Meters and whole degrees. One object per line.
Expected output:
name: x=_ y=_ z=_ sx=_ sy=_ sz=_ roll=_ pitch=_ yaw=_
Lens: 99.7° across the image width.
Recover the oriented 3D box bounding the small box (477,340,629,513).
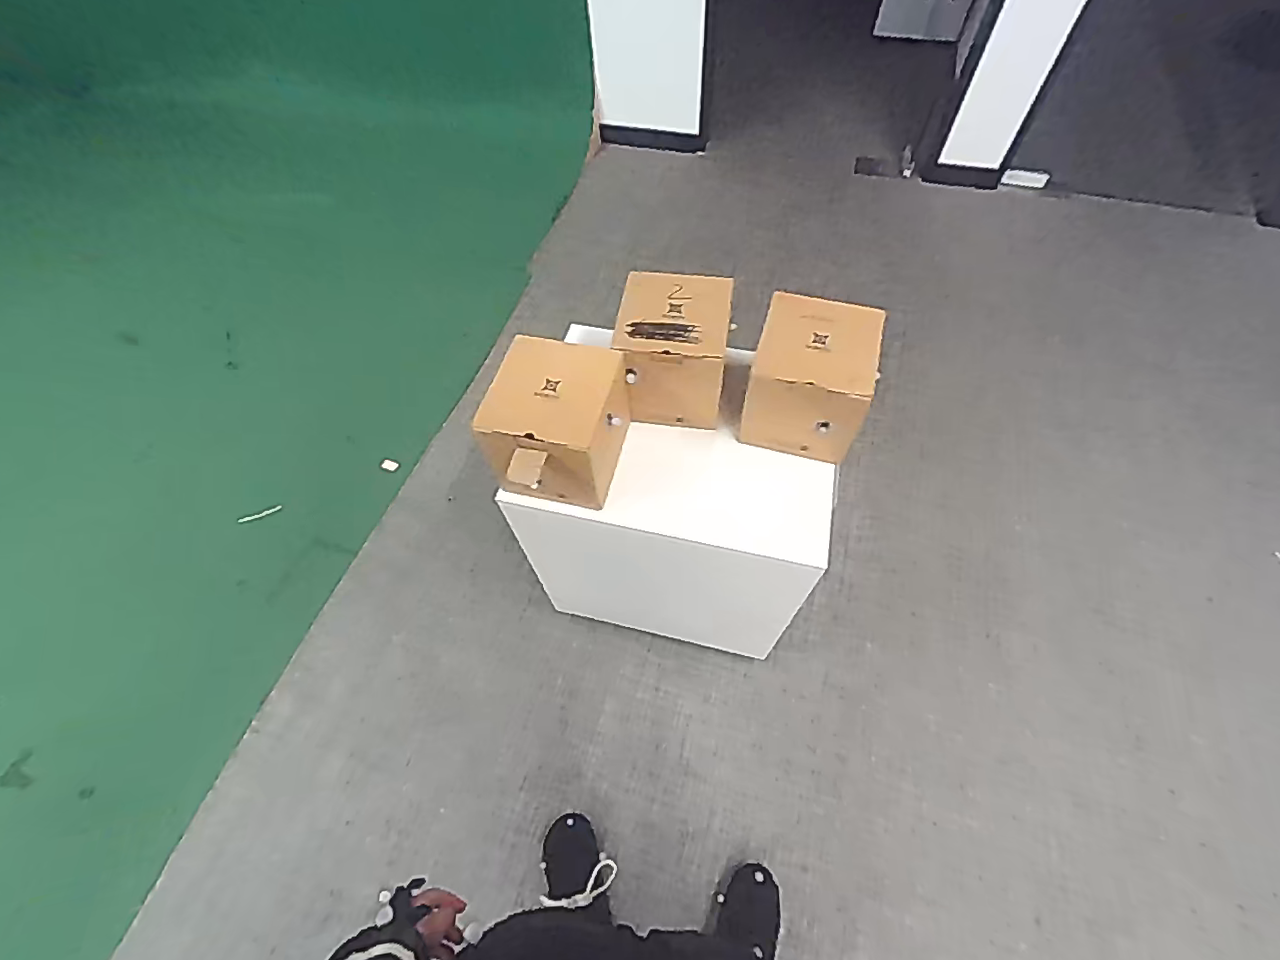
small box: x=-0.116 y=-0.076 z=0.806 sx=0.168 sy=0.176 sz=0.179 roll=11 pitch=60 yaw=9

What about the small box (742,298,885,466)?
small box: x=0.259 y=-0.146 z=0.835 sx=0.168 sy=0.176 sz=0.179 roll=14 pitch=60 yaw=11
